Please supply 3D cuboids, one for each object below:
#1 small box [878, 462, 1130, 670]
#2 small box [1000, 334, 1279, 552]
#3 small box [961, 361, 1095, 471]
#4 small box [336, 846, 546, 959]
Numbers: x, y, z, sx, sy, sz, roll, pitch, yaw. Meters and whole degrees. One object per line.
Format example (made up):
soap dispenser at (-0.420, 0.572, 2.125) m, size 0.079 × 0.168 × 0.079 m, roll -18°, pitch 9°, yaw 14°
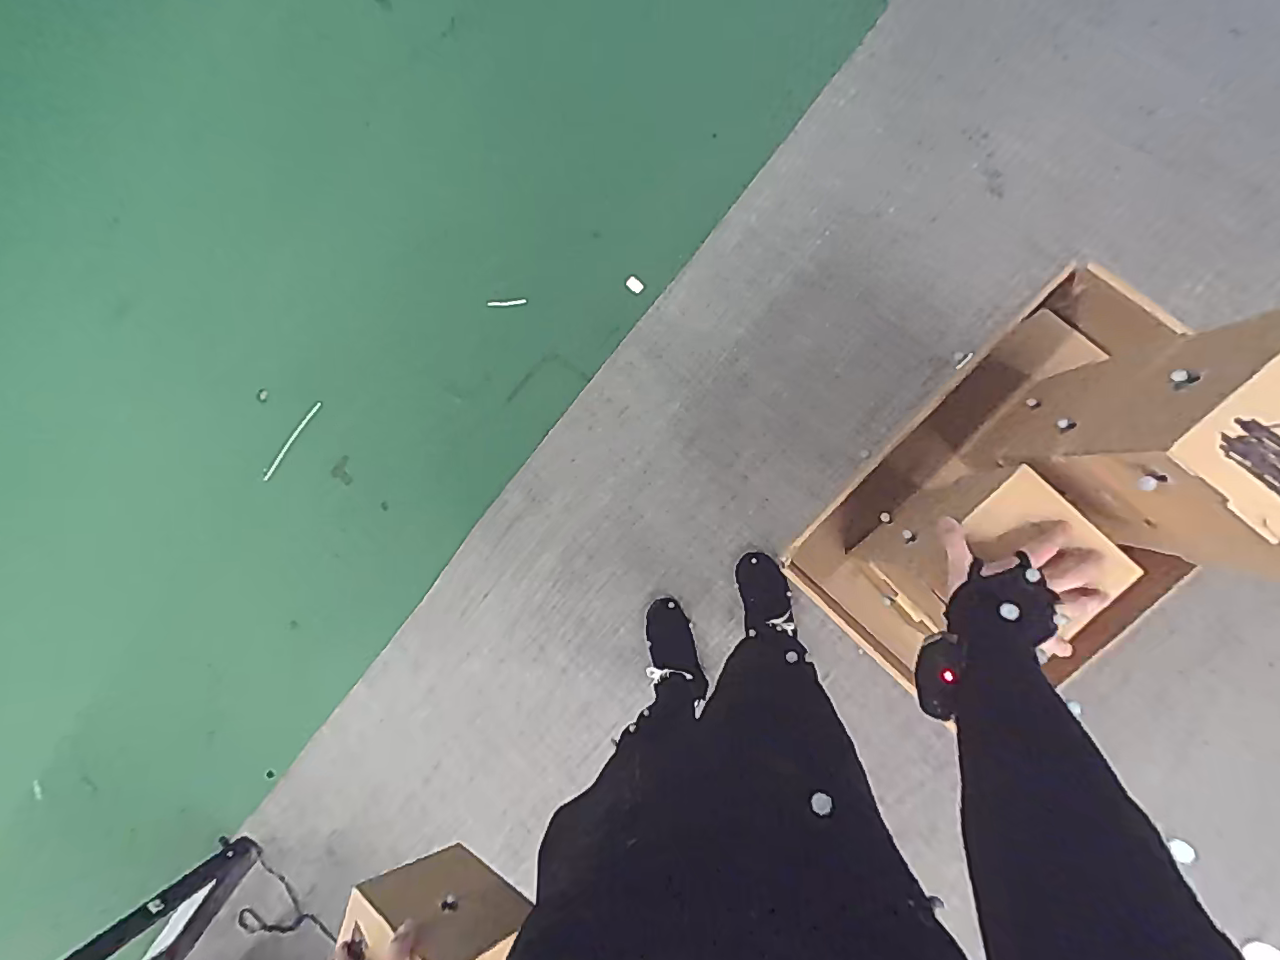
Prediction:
small box at (0.429, 0.101, 0.681) m, size 0.179 × 0.176 × 0.168 m, roll -43°, pitch 82°, yaw 3°
small box at (0.589, -0.043, 0.653) m, size 0.168 × 0.176 × 0.179 m, roll 43°, pitch 101°, yaw 8°
small box at (0.629, -0.048, 0.810) m, size 0.168 × 0.176 × 0.179 m, roll 44°, pitch 101°, yaw 9°
small box at (-0.249, 0.594, 0.670) m, size 0.179 × 0.176 × 0.168 m, roll 11°, pitch 83°, yaw 32°
